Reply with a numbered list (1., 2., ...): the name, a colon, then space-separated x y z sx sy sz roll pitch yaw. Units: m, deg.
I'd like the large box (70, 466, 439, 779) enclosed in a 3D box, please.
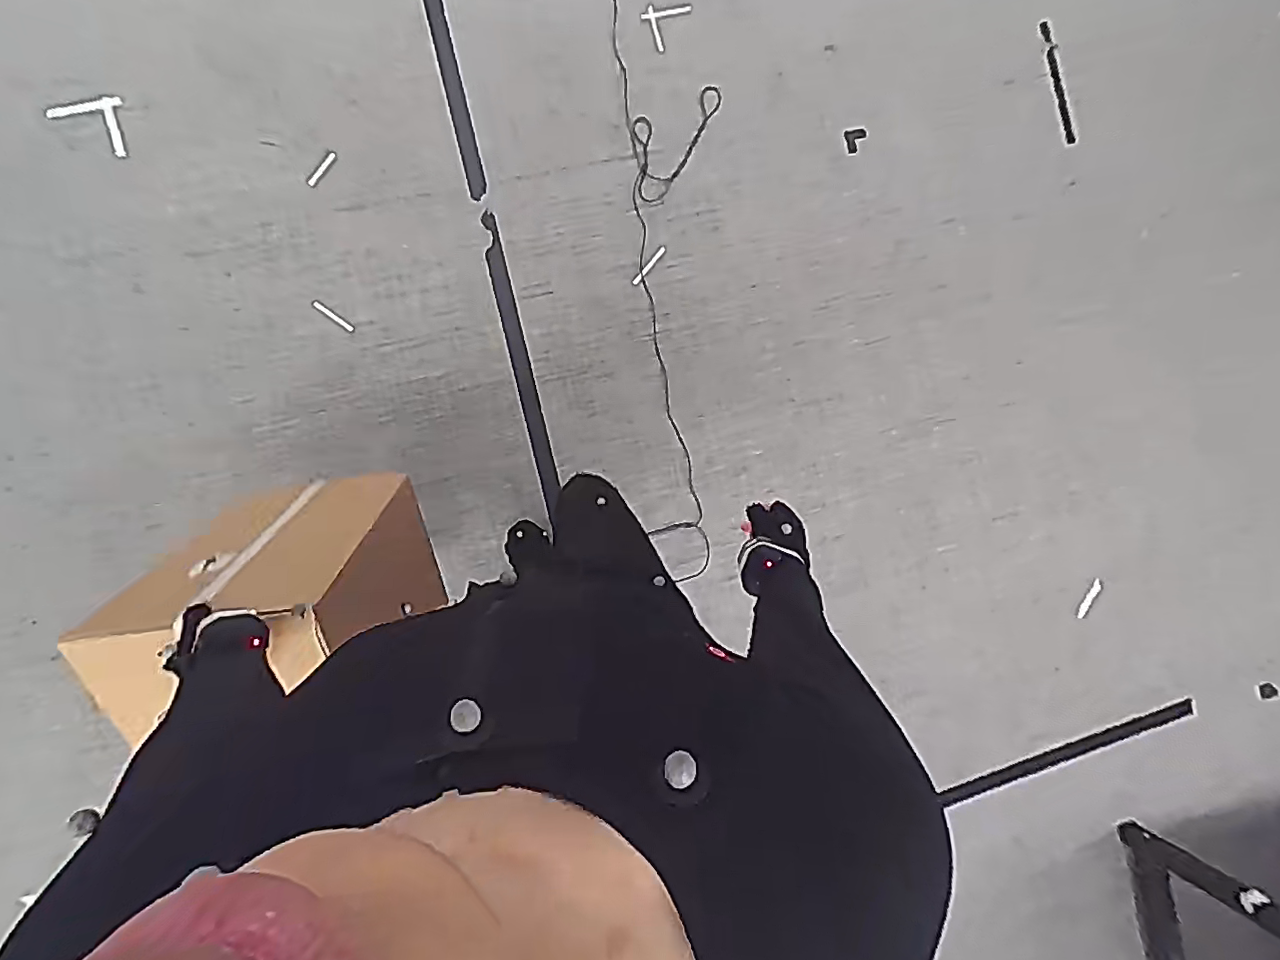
1. large box: -0.566 0.211 0.916 0.320 0.408 0.320 -7 118 -2
